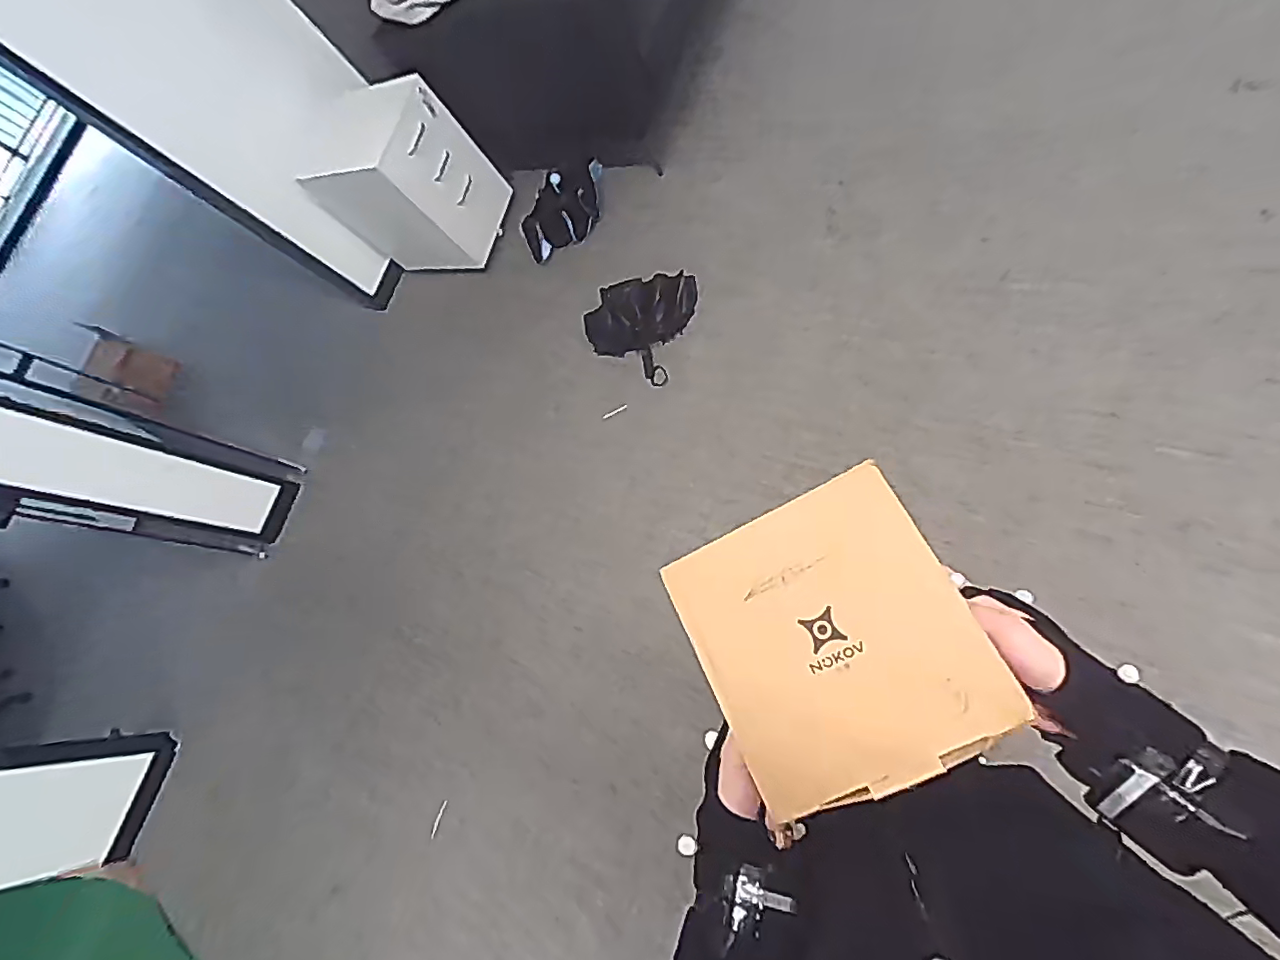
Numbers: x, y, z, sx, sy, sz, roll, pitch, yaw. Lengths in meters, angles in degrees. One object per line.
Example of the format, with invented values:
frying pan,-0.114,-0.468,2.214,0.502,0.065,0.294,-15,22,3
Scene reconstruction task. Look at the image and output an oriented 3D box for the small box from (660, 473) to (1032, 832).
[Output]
small box,0.143,0.123,0.416,0.168,0.176,0.179,-30,68,10
